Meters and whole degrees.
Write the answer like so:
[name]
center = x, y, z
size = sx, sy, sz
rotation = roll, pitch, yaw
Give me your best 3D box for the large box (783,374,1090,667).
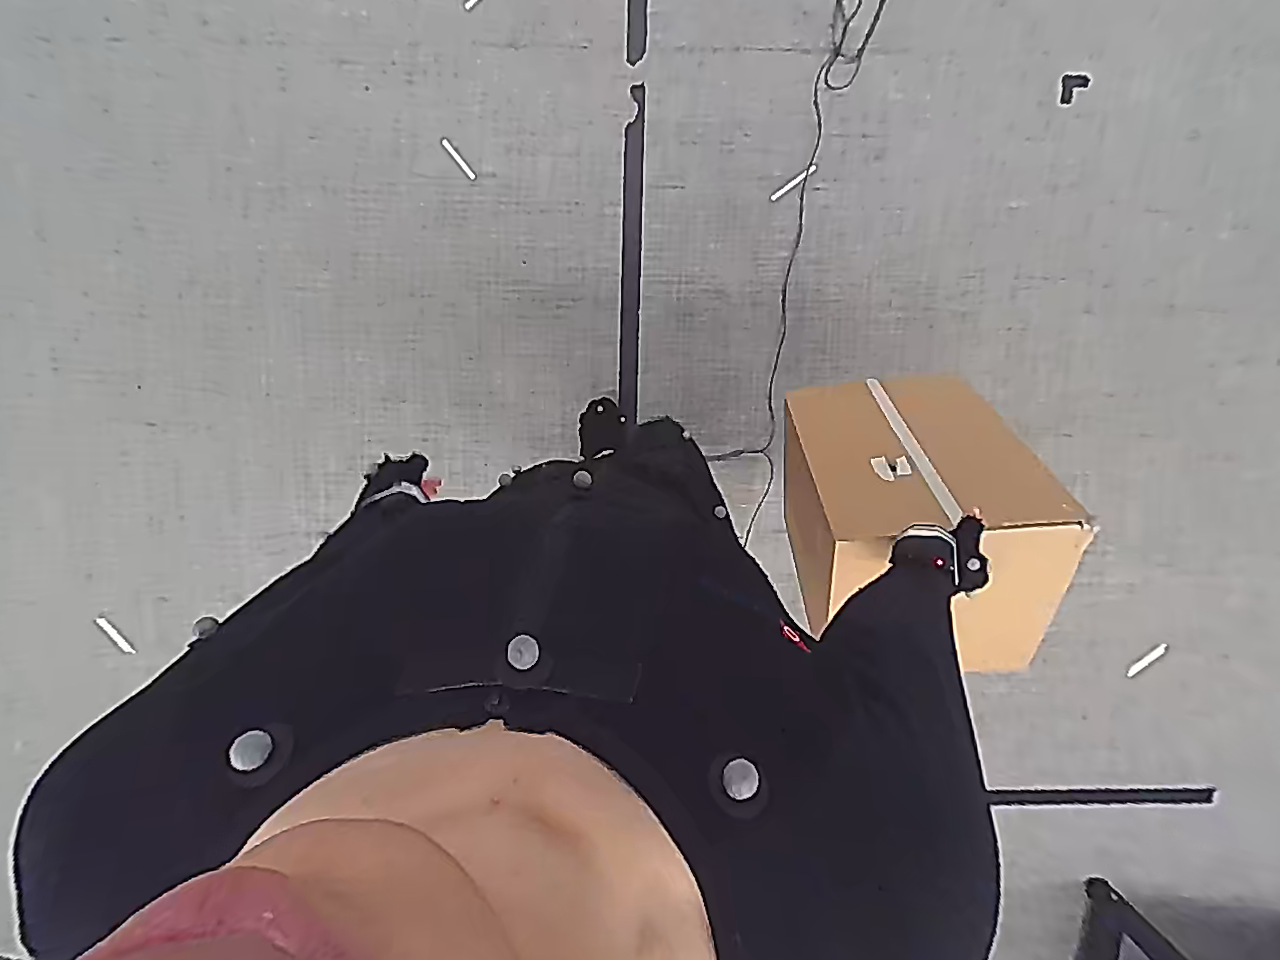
[large box]
center = 0.442, 0.059, 0.941
size = 0.320, 0.408, 0.320
rotation = -6, 129, 7
